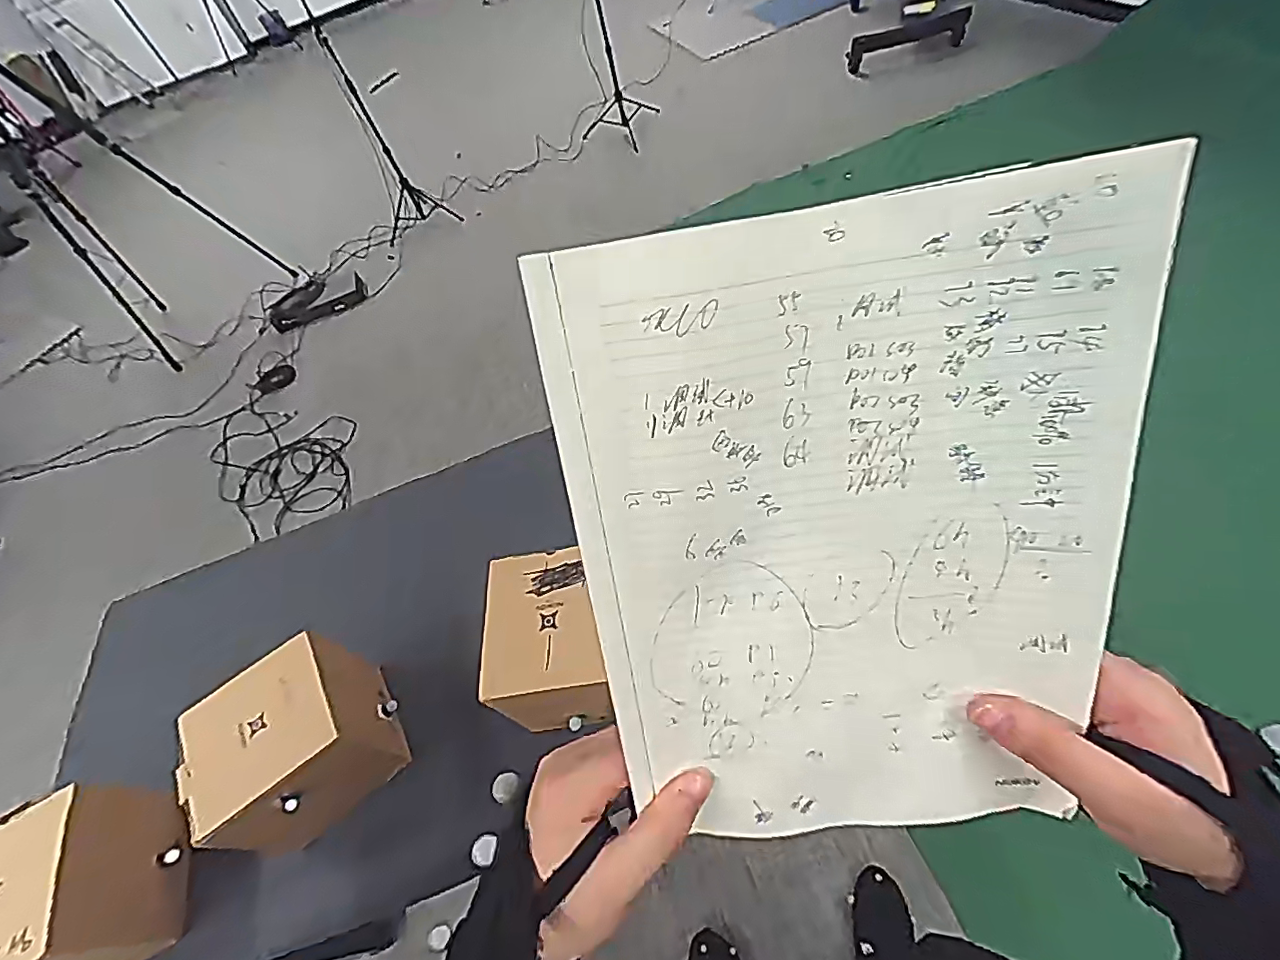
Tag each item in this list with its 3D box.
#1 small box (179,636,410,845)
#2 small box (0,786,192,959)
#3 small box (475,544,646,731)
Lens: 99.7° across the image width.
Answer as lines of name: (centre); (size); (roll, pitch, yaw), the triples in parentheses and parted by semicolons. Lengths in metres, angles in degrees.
small box: (-0.441, 0.344, 0.706); (0.179, 0.176, 0.168); (-36, 55, -13)
small box: (-0.691, 0.508, 0.654); (0.168, 0.176, 0.179); (-27, 54, -6)
small box: (-0.094, 0.209, 0.704); (0.168, 0.176, 0.179); (-12, 54, 8)
